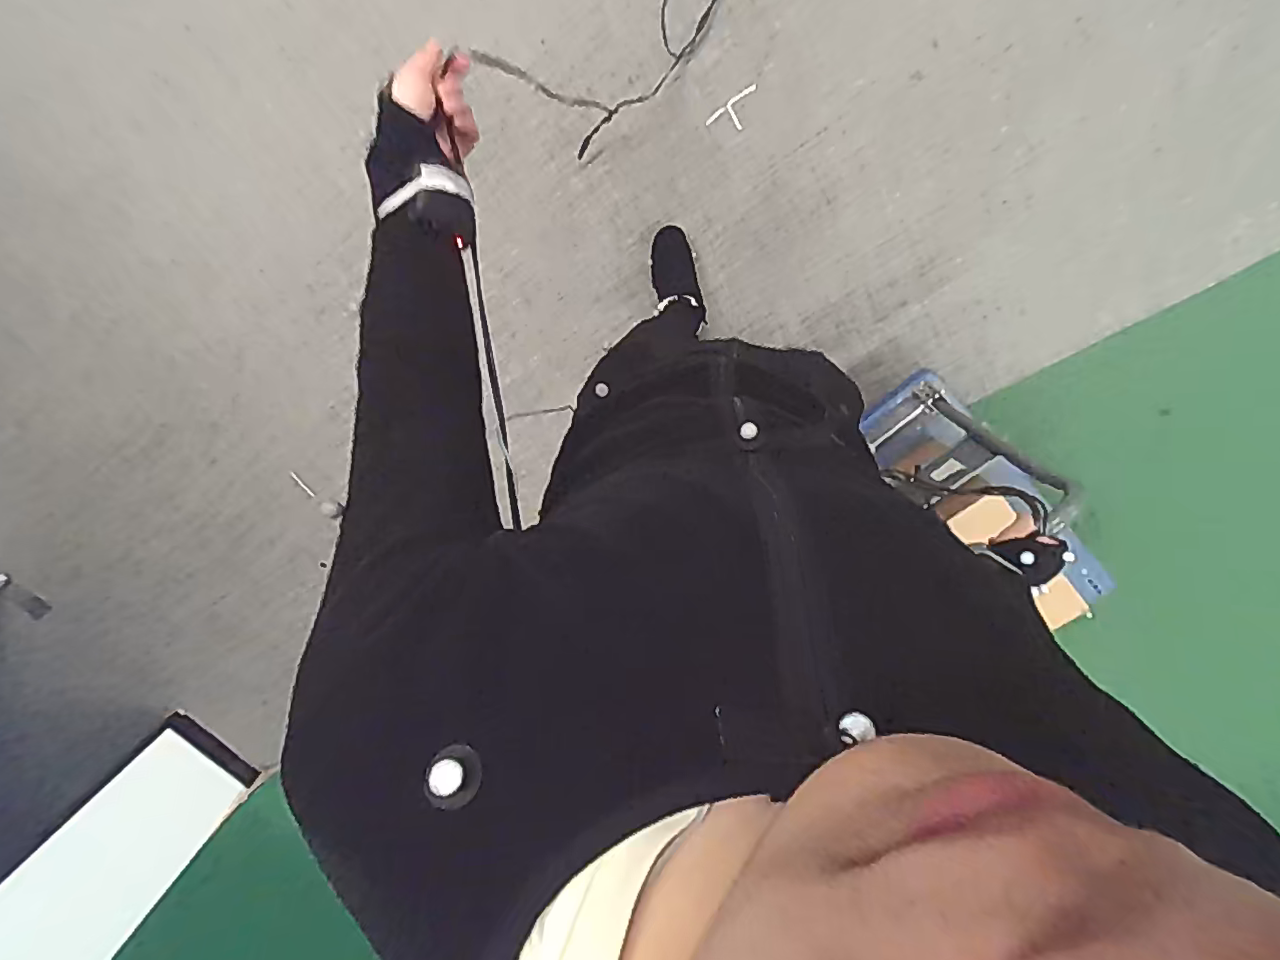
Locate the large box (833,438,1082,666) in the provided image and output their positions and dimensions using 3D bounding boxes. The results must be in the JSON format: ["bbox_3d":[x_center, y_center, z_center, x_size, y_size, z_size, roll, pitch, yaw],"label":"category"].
[{"bbox_3d":[0.759,0.170,1.351,0.320,0.320,0.408,-40,106,20],"label":"large box"}]
